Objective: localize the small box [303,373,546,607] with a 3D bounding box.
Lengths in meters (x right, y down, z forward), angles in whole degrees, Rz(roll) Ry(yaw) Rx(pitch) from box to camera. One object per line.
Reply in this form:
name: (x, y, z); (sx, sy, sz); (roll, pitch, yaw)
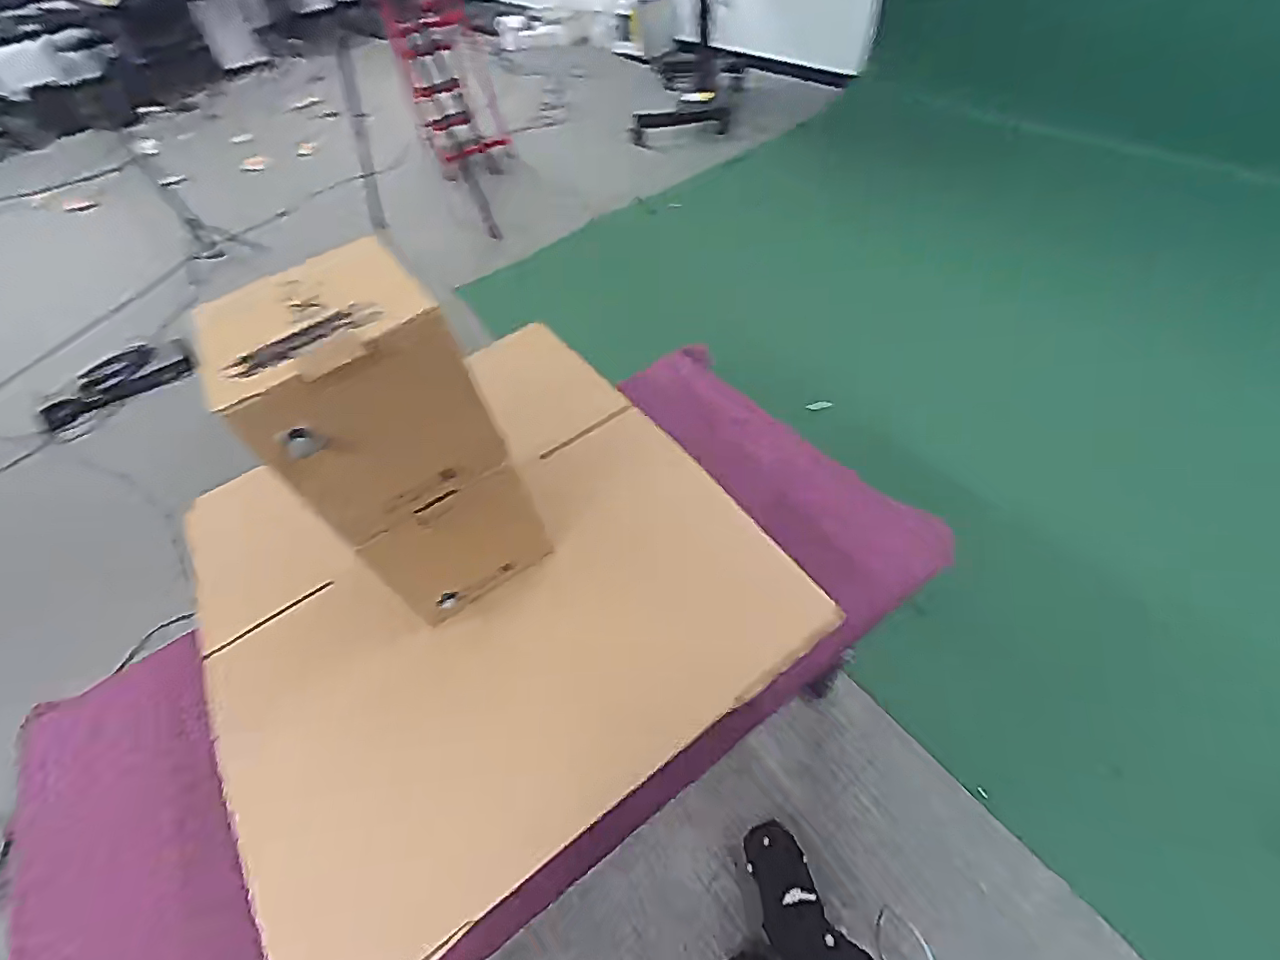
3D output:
small box: (-0.230, 0.020, 0.609); (0.168, 0.176, 0.179); (-35, 56, -18)
